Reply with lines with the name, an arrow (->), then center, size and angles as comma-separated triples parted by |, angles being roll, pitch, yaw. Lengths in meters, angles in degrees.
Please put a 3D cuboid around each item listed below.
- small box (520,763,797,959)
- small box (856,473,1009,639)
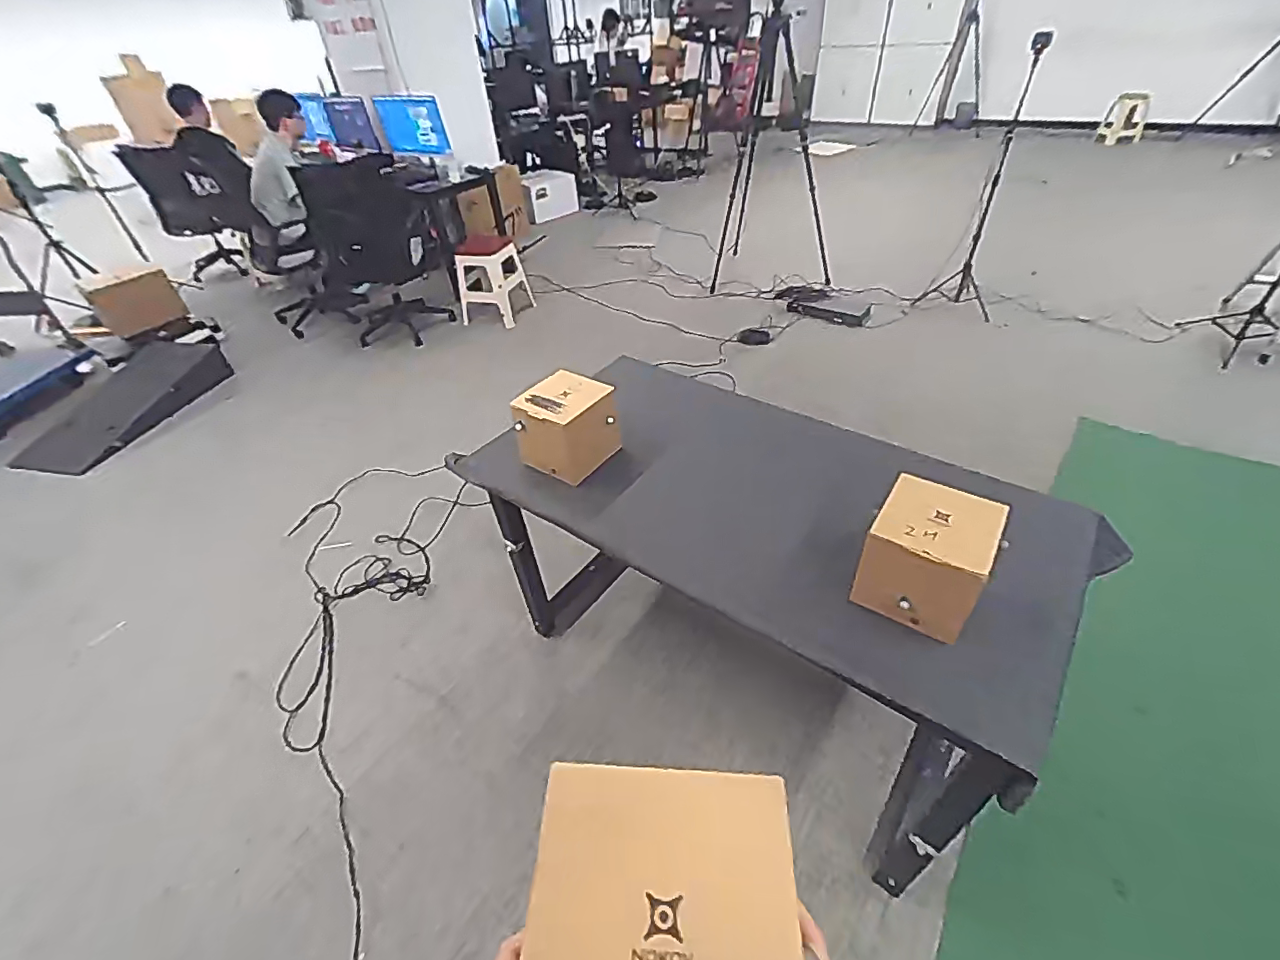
small box -> 0.011, 0.325, 0.385 | 0.168, 0.176, 0.179 | 1, 46, 2
small box -> 0.472, 0.122, 0.889 | 0.168, 0.176, 0.179 | 21, 47, 30
